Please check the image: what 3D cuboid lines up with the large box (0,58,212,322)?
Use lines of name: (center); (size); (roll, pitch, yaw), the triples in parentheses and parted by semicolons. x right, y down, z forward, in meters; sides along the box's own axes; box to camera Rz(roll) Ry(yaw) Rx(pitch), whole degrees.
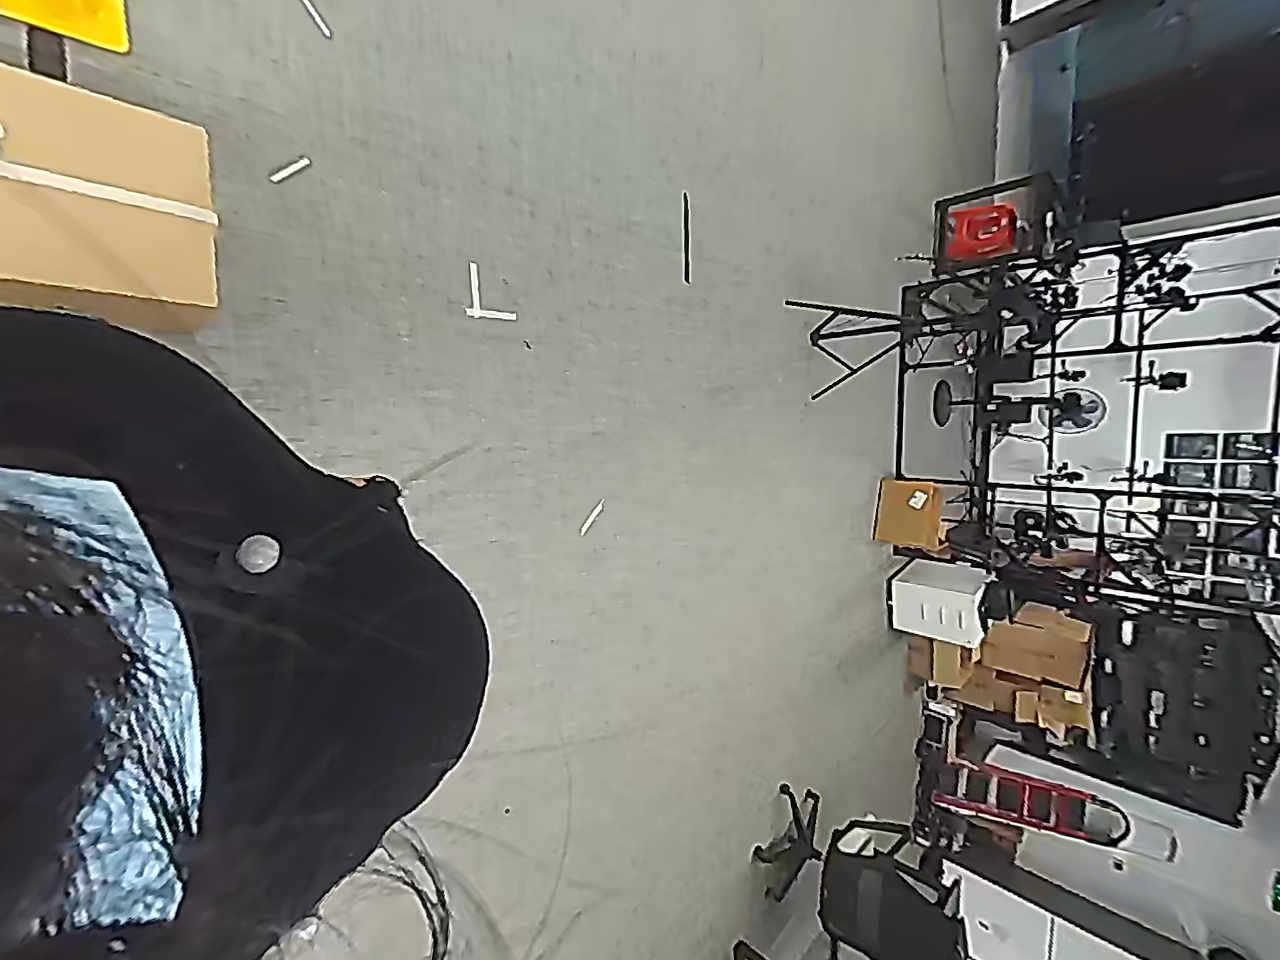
large box: (-1.012, -0.472, 0.925); (0.408, 0.320, 0.320); (-4, 94, -44)
